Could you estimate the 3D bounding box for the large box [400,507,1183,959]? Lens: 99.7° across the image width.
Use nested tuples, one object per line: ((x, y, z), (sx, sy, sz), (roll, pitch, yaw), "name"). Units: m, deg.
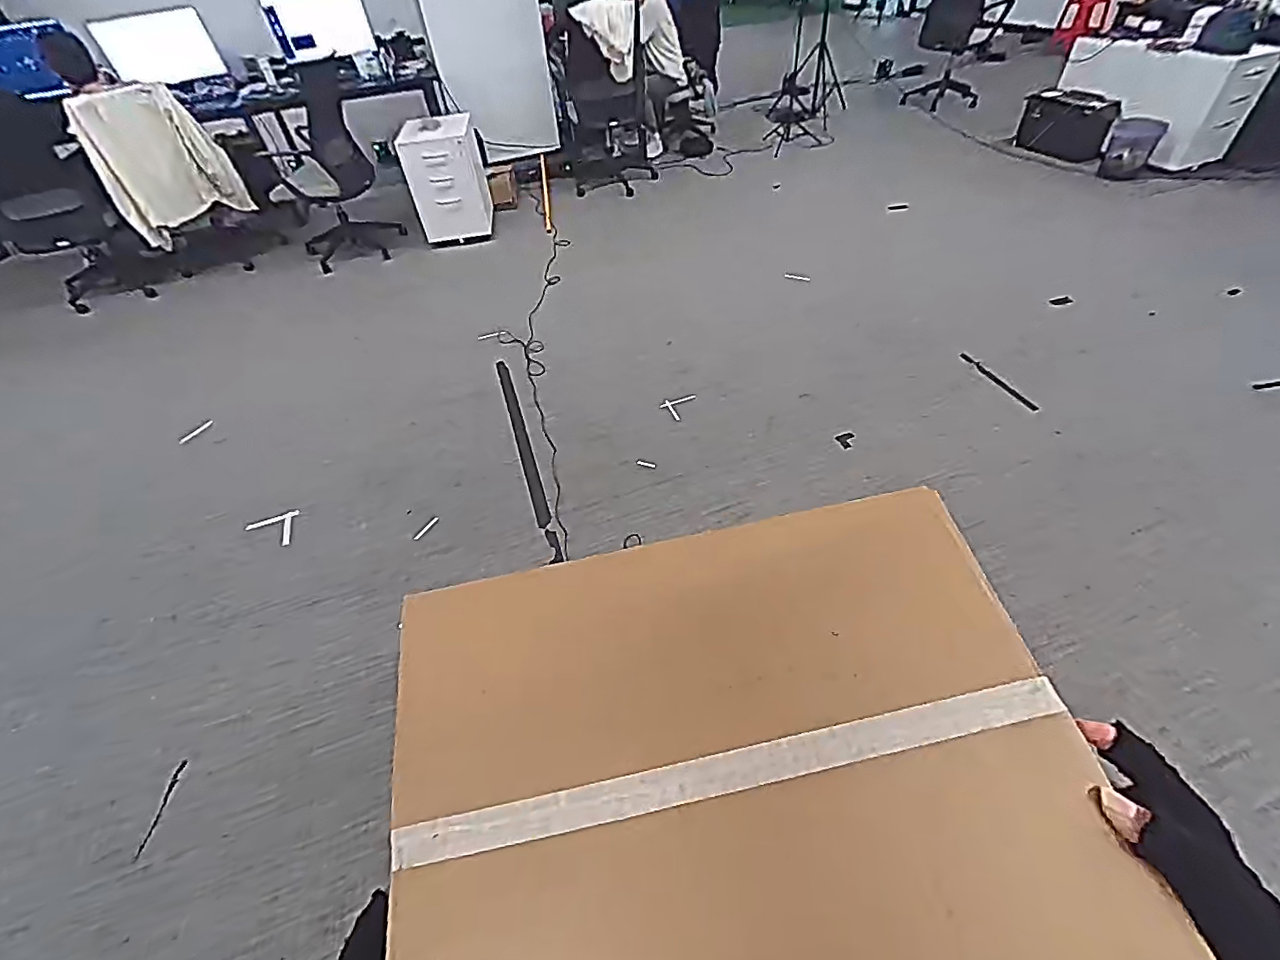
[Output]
((0.068, 0.266, 0.451), (0.408, 0.320, 0.320), (-12, 56, -2), "large box")
